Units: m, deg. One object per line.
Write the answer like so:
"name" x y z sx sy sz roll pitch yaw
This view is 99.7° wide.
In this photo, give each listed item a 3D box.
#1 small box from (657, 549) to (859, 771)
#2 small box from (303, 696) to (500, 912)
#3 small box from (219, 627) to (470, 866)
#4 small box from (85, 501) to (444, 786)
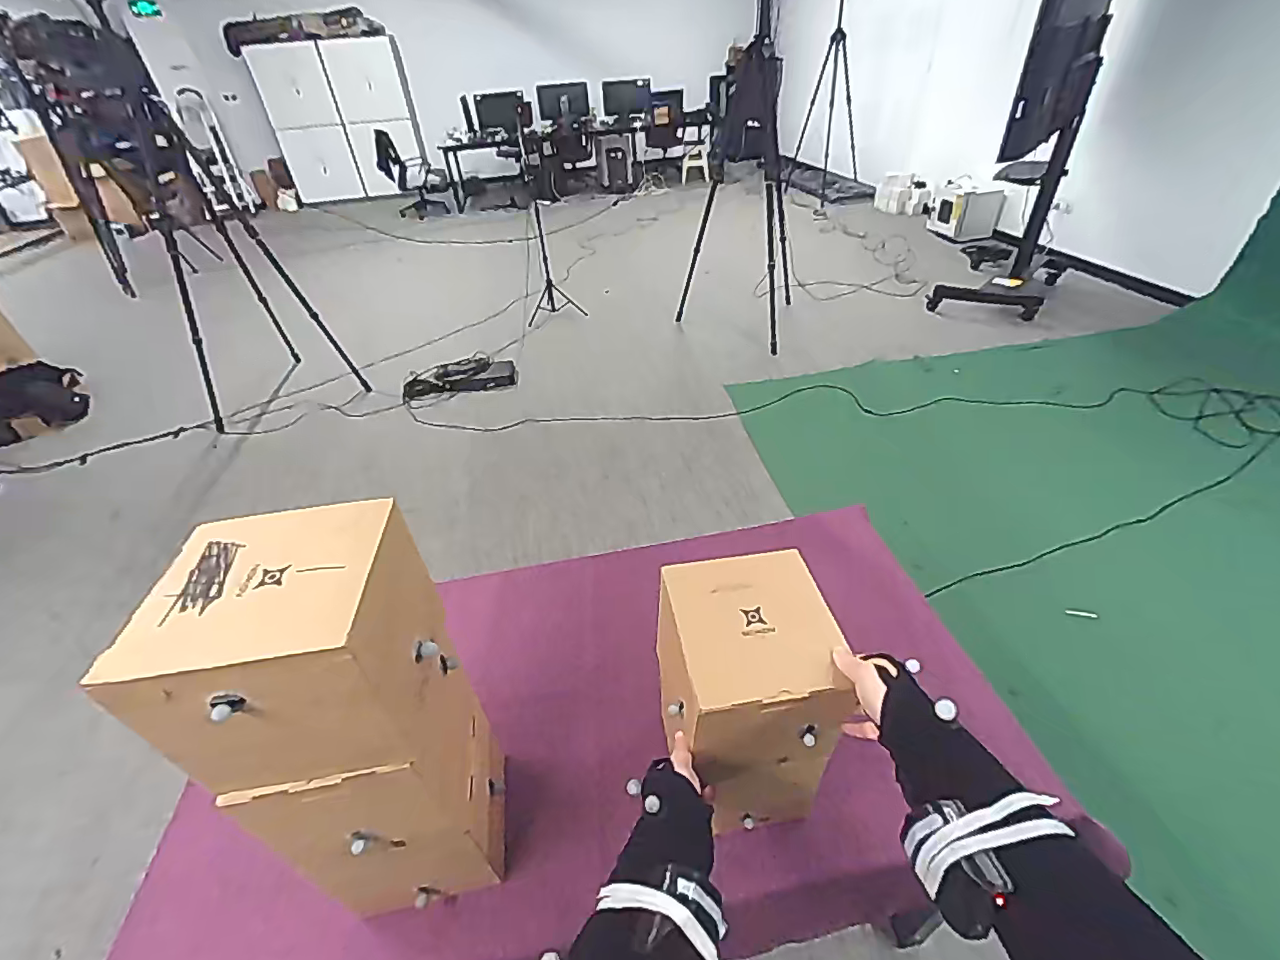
"small box" 0.115 0.206 0.613 0.168 0.176 0.179 -6 41 -8
"small box" -0.277 0.404 0.679 0.179 0.176 0.168 -10 39 -7
"small box" -0.288 0.272 0.579 0.168 0.176 0.179 -10 39 -5
"small box" -0.293 0.143 0.478 0.179 0.176 0.168 -8 39 -5
